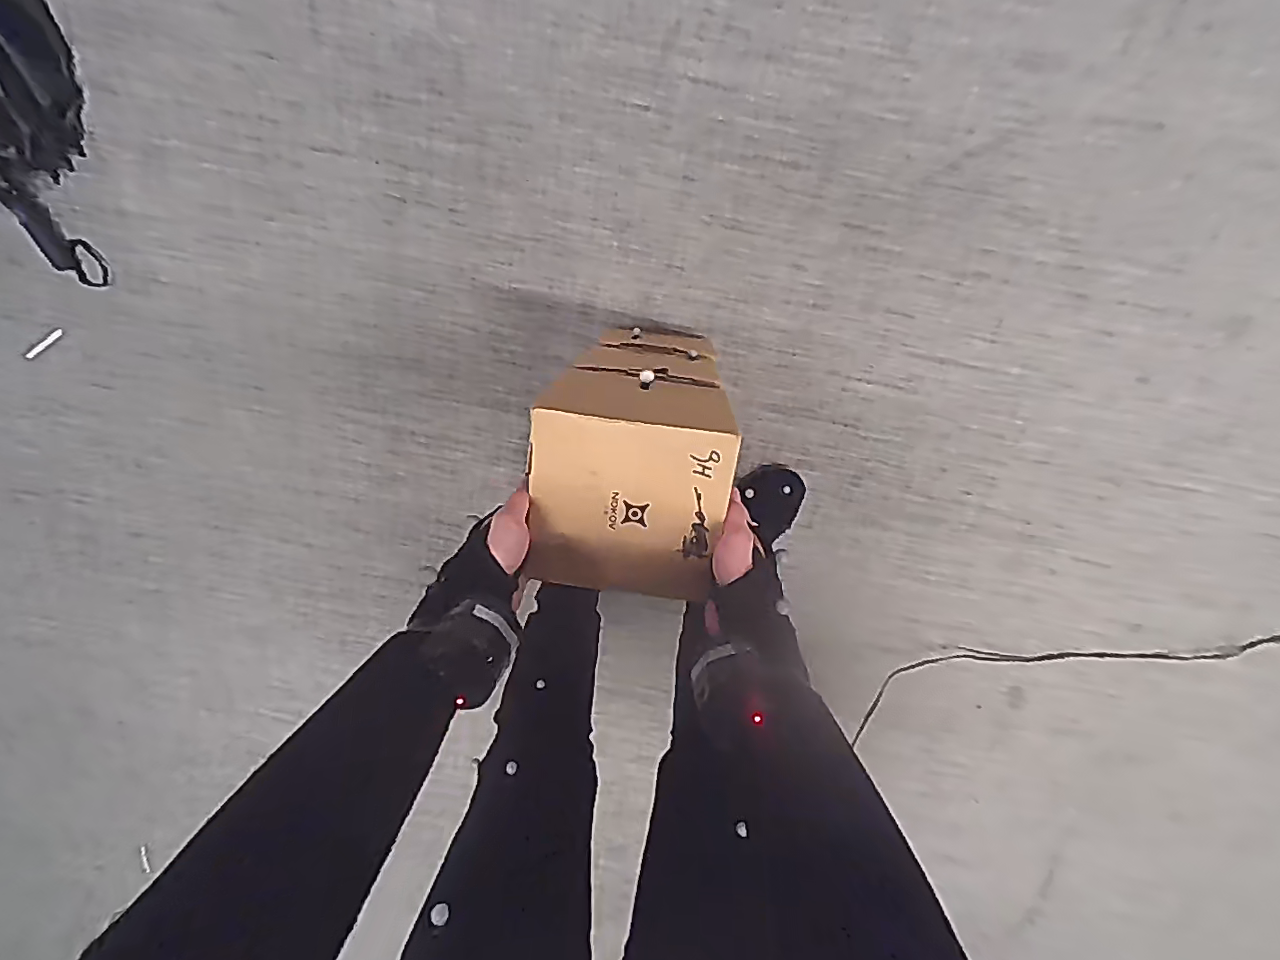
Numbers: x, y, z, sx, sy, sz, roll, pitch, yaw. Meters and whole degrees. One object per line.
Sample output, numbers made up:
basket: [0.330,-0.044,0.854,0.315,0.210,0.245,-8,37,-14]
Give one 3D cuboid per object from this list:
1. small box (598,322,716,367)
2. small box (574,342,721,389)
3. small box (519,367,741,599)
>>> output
small box: [0.018,-0.142,0.843,0.168,0.176,0.179,8,115,2]
small box: [0.003,-0.072,0.694,0.168,0.176,0.179,8,114,2]
small box: [-0.009,-0.009,0.541,0.179,0.176,0.168,9,115,0]
